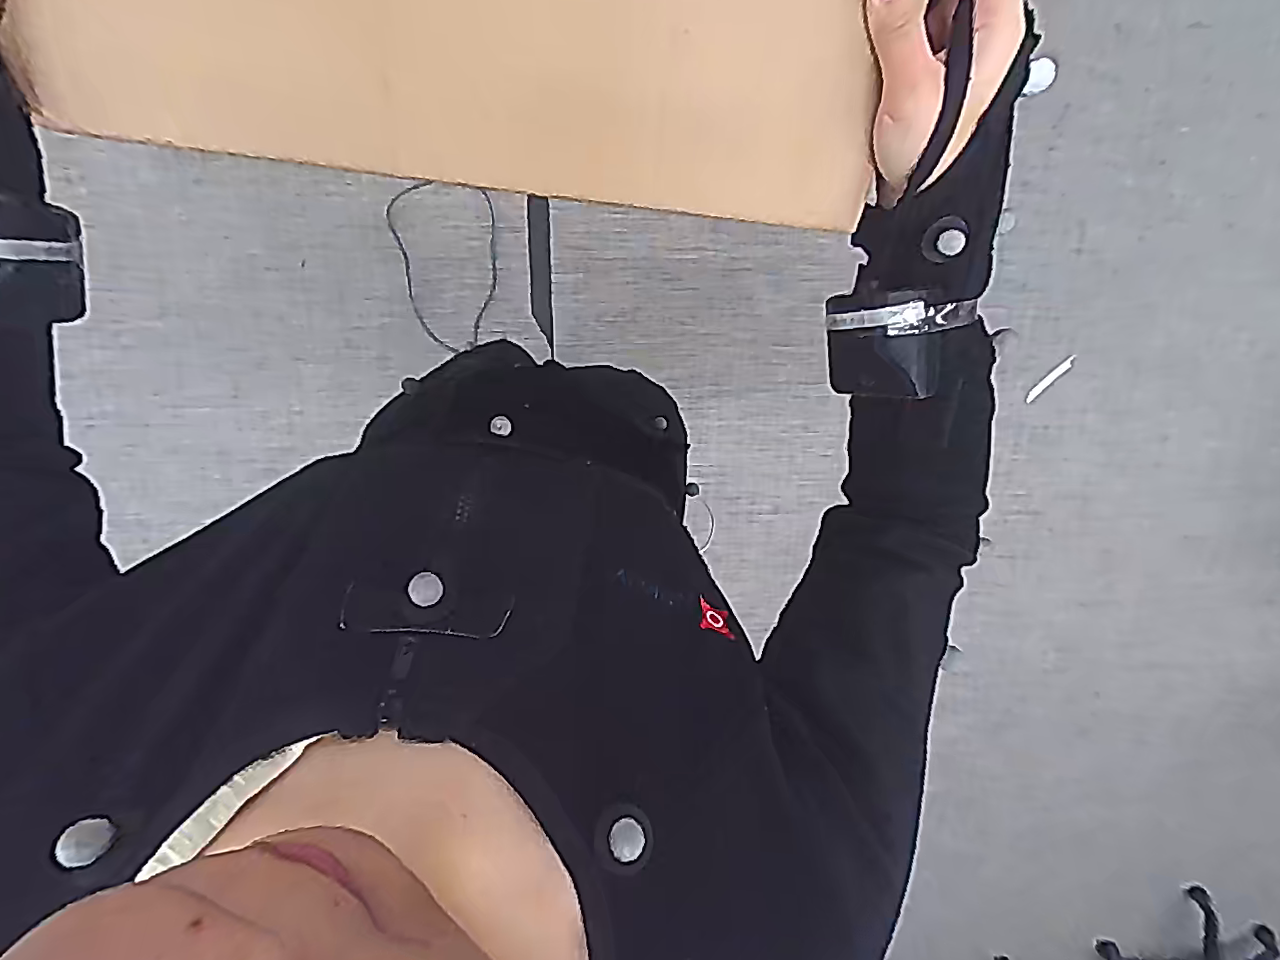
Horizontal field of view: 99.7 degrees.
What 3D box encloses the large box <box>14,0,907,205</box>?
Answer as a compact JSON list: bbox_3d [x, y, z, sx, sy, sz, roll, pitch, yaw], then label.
[{"bbox_3d":[-0.074,-0.370,0.325,0.408,0.320,0.320,4,123,-7],"label":"large box"}]
